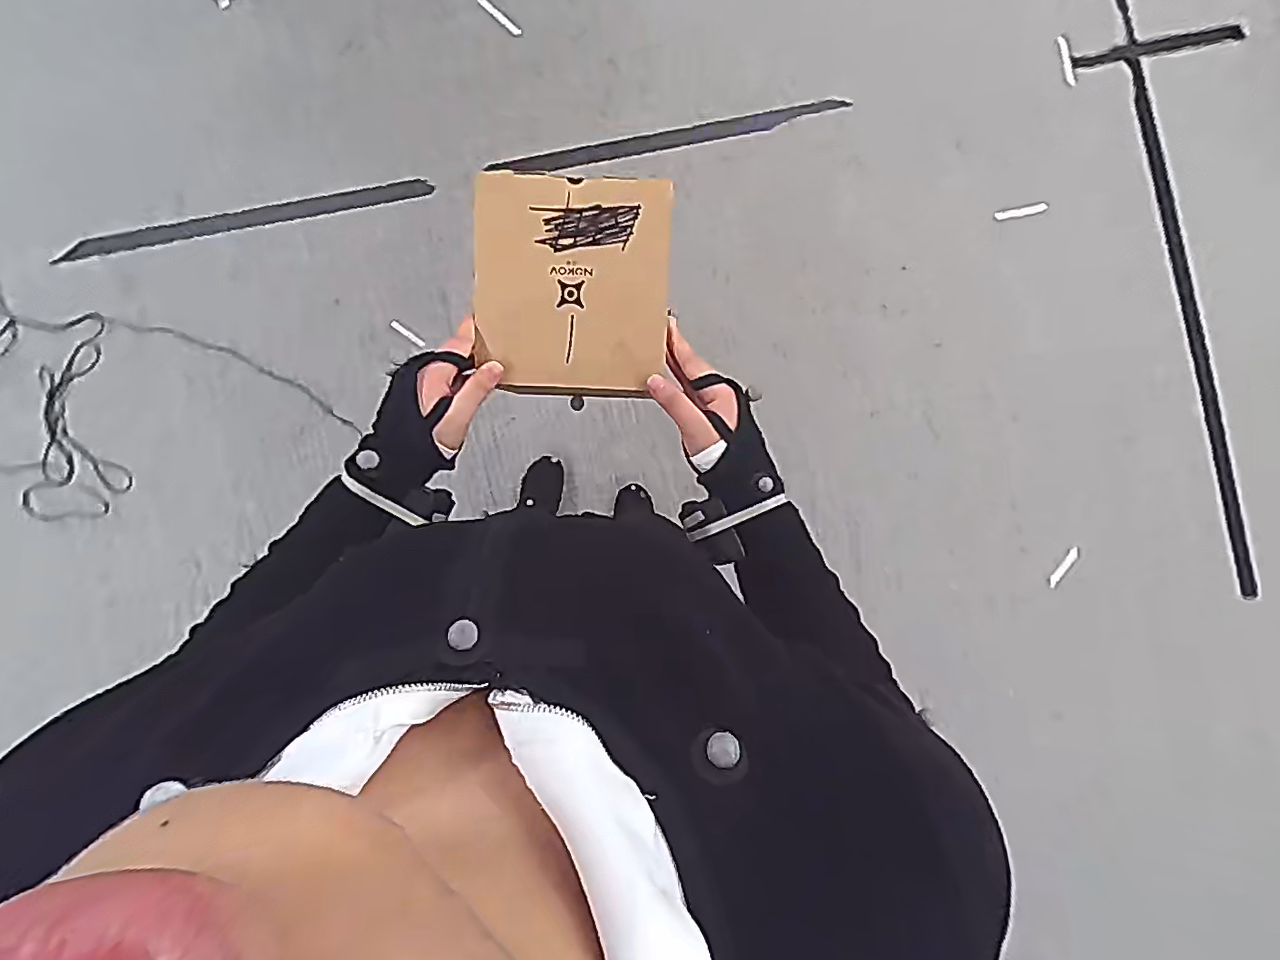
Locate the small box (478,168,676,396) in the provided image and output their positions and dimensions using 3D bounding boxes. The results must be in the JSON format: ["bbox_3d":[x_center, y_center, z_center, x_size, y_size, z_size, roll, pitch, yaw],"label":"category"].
[{"bbox_3d":[-0.056,-0.178,0.538,0.168,0.176,0.179,2,97,0],"label":"small box"}]
